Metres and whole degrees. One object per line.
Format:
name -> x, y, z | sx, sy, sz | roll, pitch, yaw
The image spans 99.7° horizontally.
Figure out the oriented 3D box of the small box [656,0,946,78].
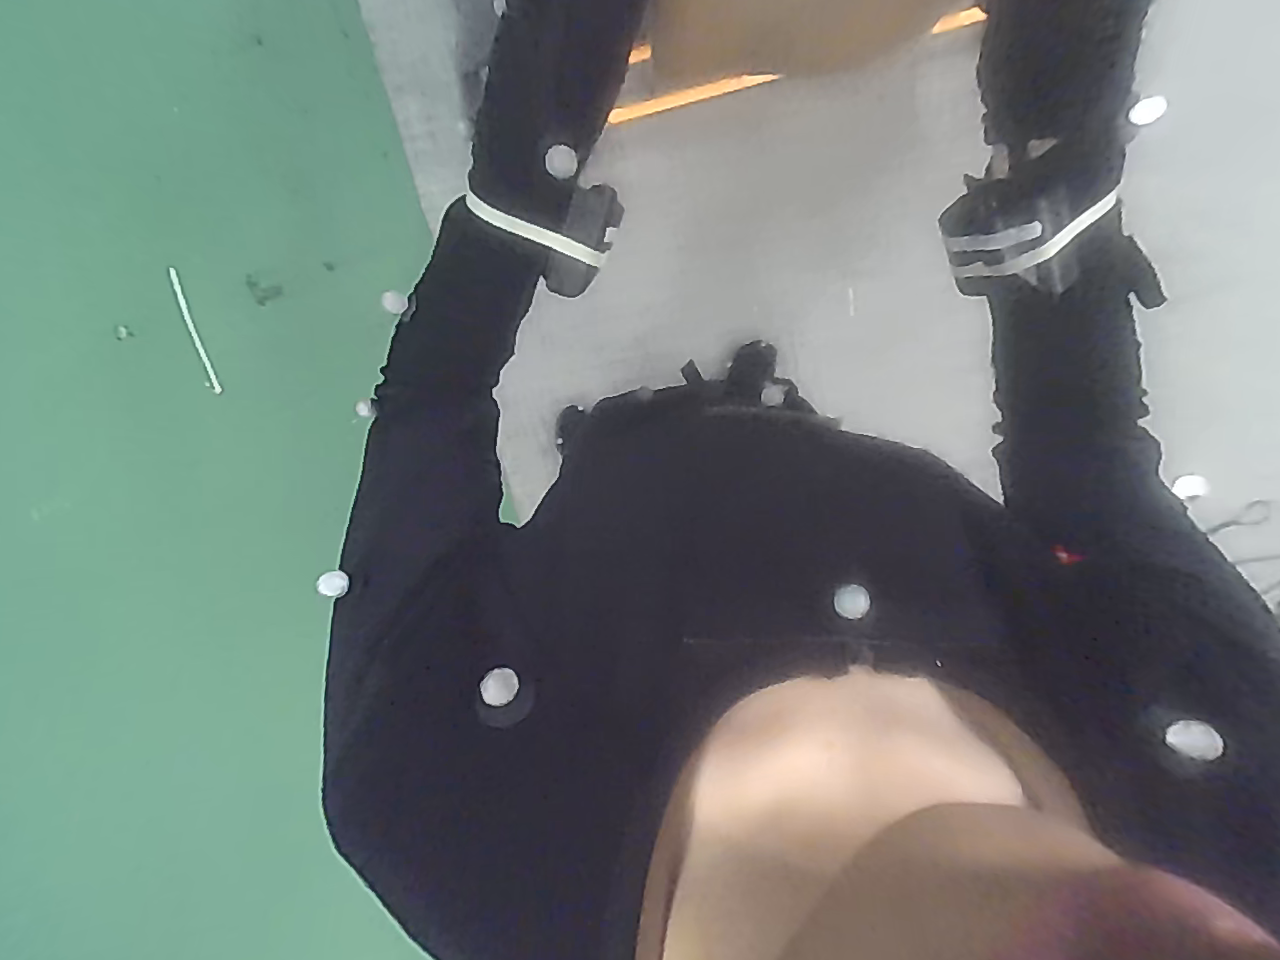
small box -> 0.097, -0.351, 0.293 | 0.179, 0.176, 0.168 | -1, 100, 0
